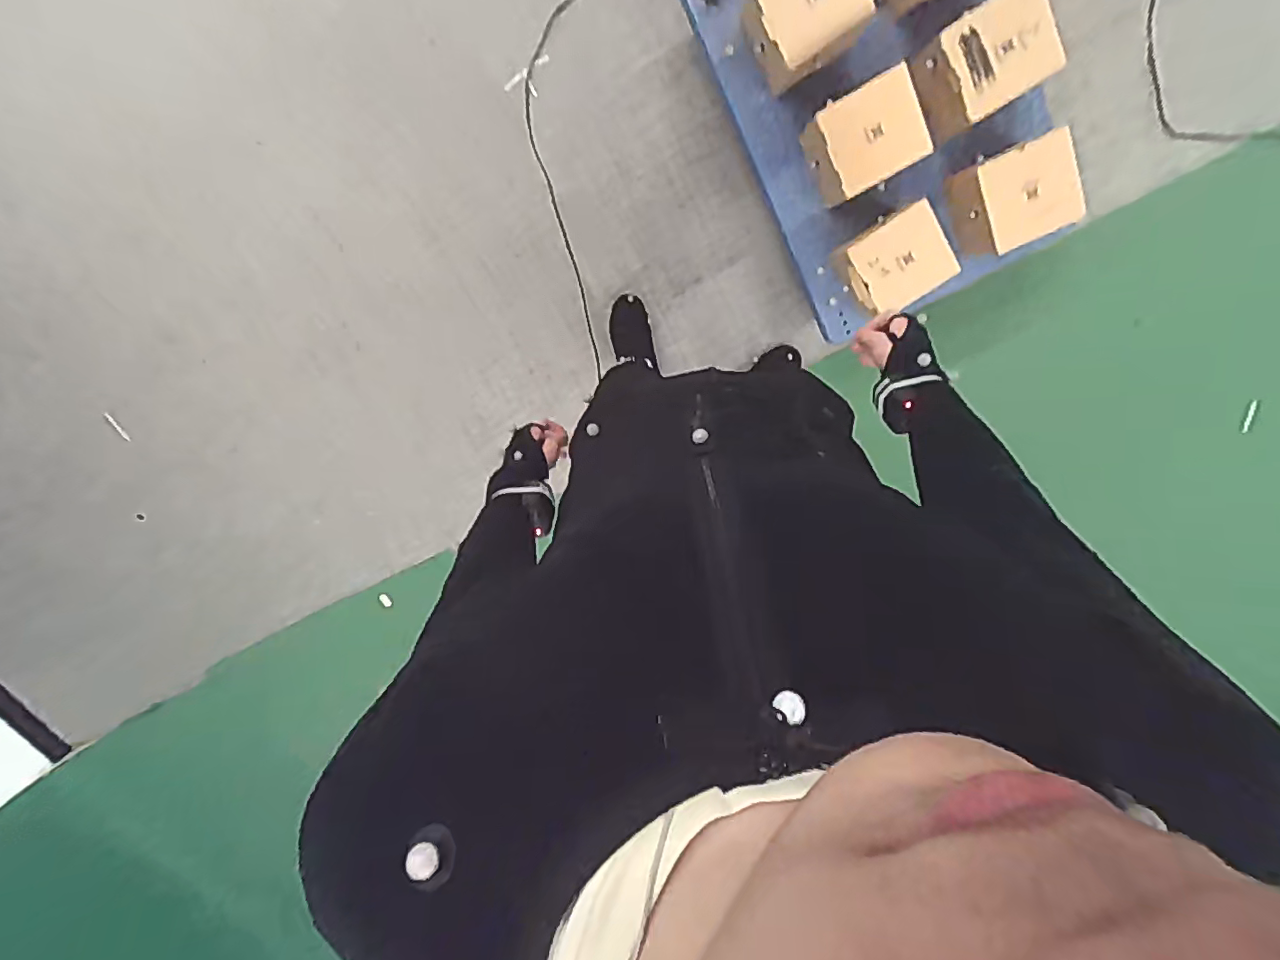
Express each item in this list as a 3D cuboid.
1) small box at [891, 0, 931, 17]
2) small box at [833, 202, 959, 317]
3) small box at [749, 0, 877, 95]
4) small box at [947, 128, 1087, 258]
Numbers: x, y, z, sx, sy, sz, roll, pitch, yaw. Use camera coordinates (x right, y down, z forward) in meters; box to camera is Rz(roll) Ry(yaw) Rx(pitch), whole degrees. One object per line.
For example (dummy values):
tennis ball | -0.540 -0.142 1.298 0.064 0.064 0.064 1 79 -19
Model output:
small box | 0.553 -1.006 0.984 0.179 0.176 0.168 -23 107 13
small box | 0.548 -0.473 1.177 0.179 0.176 0.168 -25 103 15
small box | 0.323 -0.896 1.047 0.179 0.176 0.168 -28 105 15
small box | 0.769 -0.580 1.120 0.168 0.176 0.179 -22 106 14
